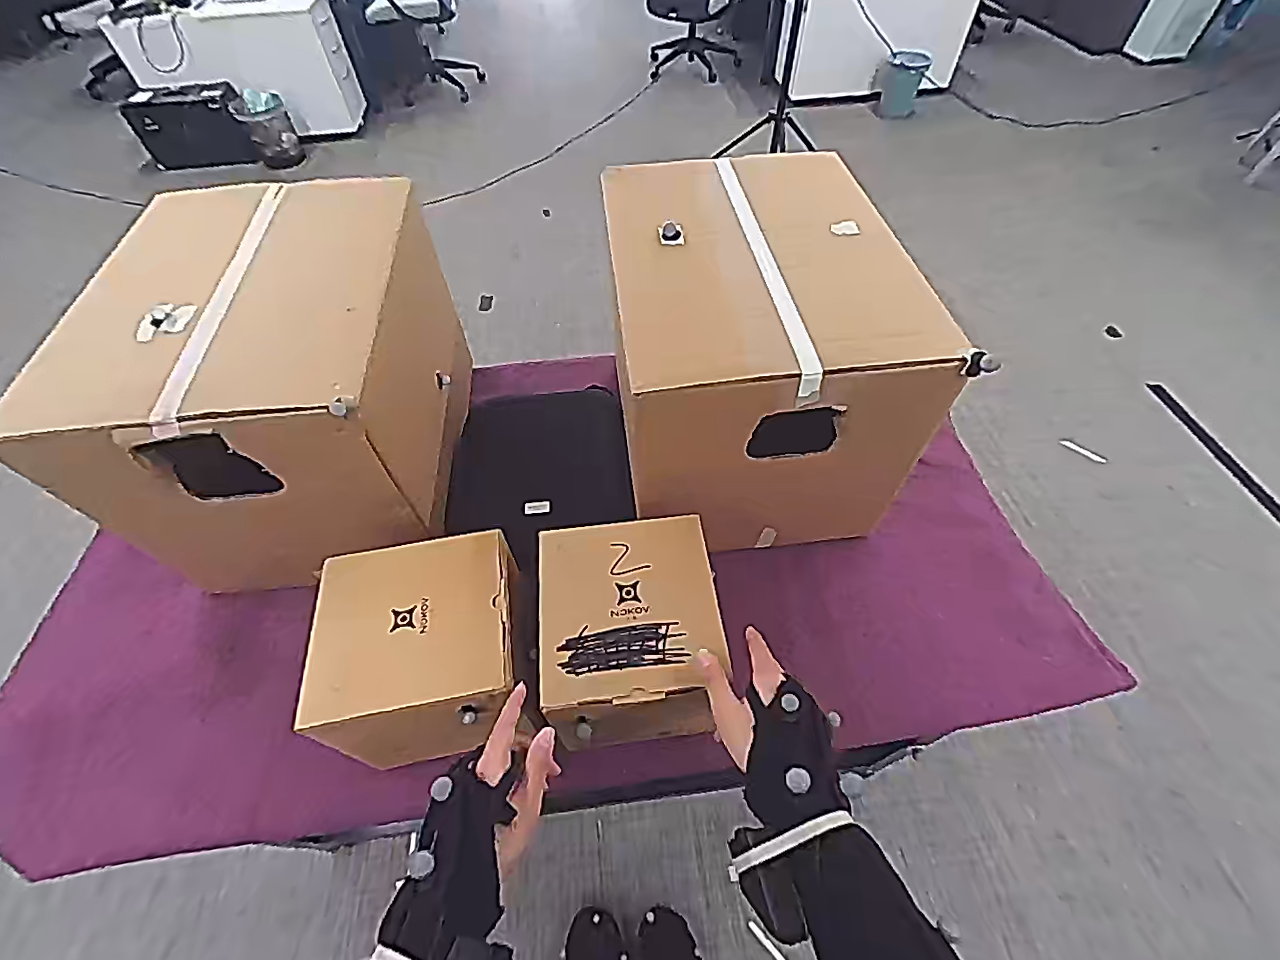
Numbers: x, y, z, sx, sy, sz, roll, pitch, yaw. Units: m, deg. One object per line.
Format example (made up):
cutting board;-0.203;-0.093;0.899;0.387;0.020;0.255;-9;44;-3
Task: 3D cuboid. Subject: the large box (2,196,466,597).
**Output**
large box;-0.422;-0.107;0.701;0.320;0.320;0.408;-7;56;-3
